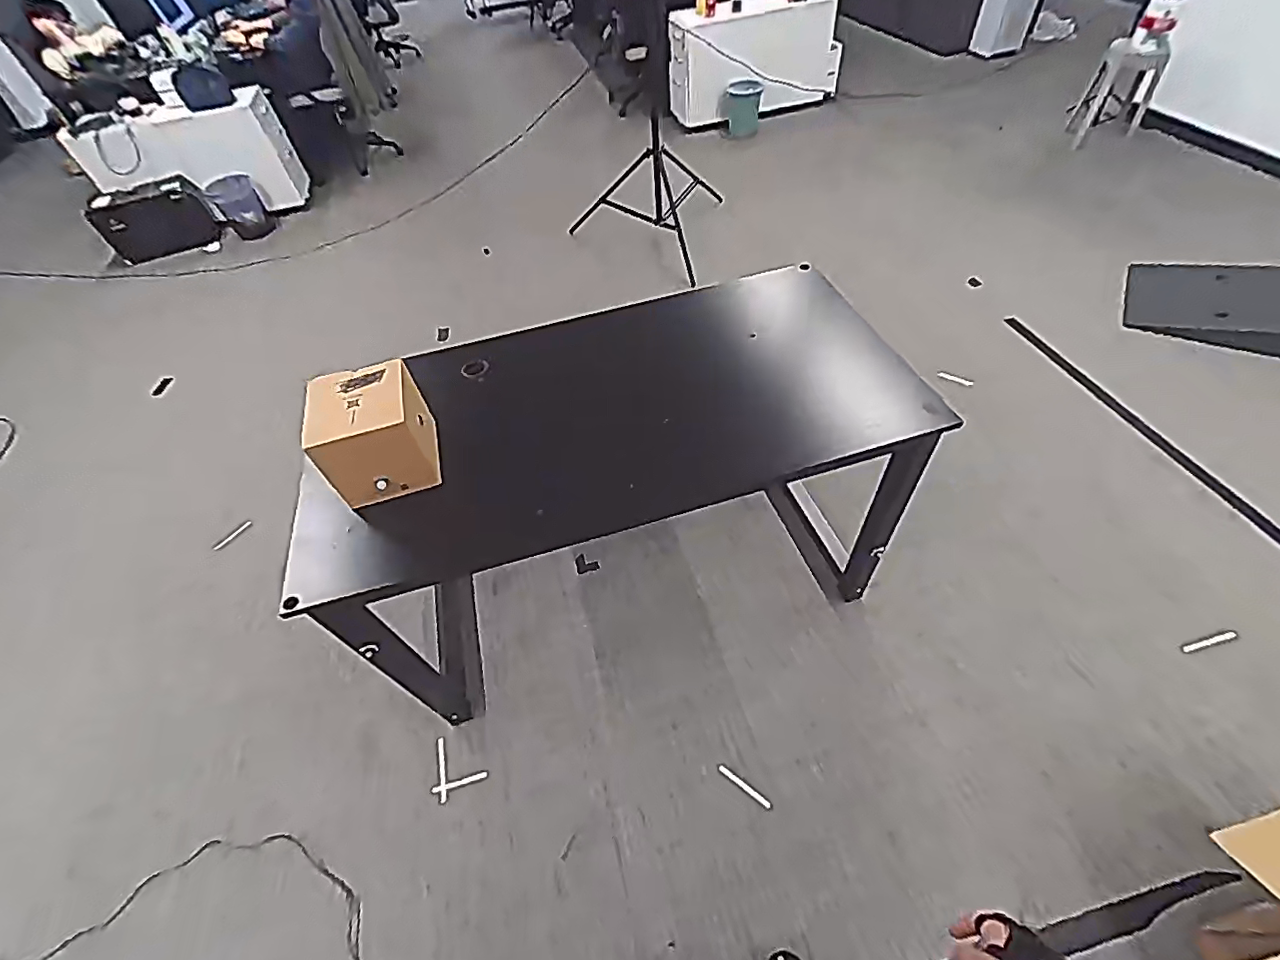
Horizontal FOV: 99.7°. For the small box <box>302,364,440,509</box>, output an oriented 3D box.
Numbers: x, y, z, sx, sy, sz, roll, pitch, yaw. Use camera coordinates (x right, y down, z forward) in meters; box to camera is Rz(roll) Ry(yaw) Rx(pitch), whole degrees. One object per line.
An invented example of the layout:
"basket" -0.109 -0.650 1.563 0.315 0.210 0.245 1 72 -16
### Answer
"small box" -0.477 -0.077 0.981 0.168 0.176 0.179 -17 52 -7
